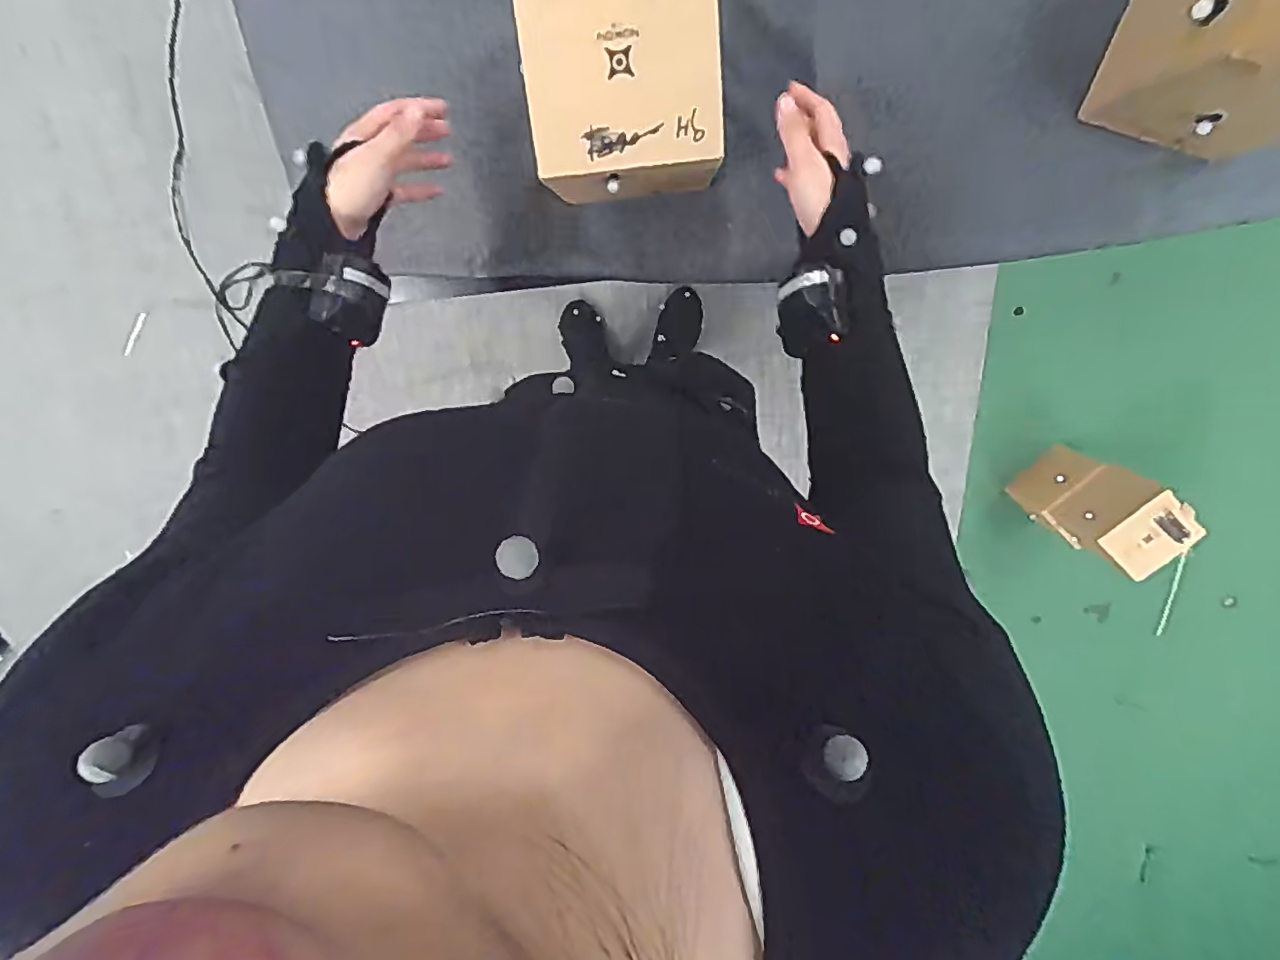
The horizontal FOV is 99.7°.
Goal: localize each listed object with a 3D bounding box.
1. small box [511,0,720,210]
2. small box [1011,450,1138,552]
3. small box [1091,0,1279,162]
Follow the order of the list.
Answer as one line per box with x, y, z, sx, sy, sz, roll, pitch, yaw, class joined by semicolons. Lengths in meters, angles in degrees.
-0.018;-0.372;0.519;0.168;0.176;0.179;-5;111;4;small box
1.132;0.050;1.431;0.168;0.176;0.179;39;107;-12;small box
0.562;-0.409;0.478;0.168;0.176;0.179;15;109;-4;small box
